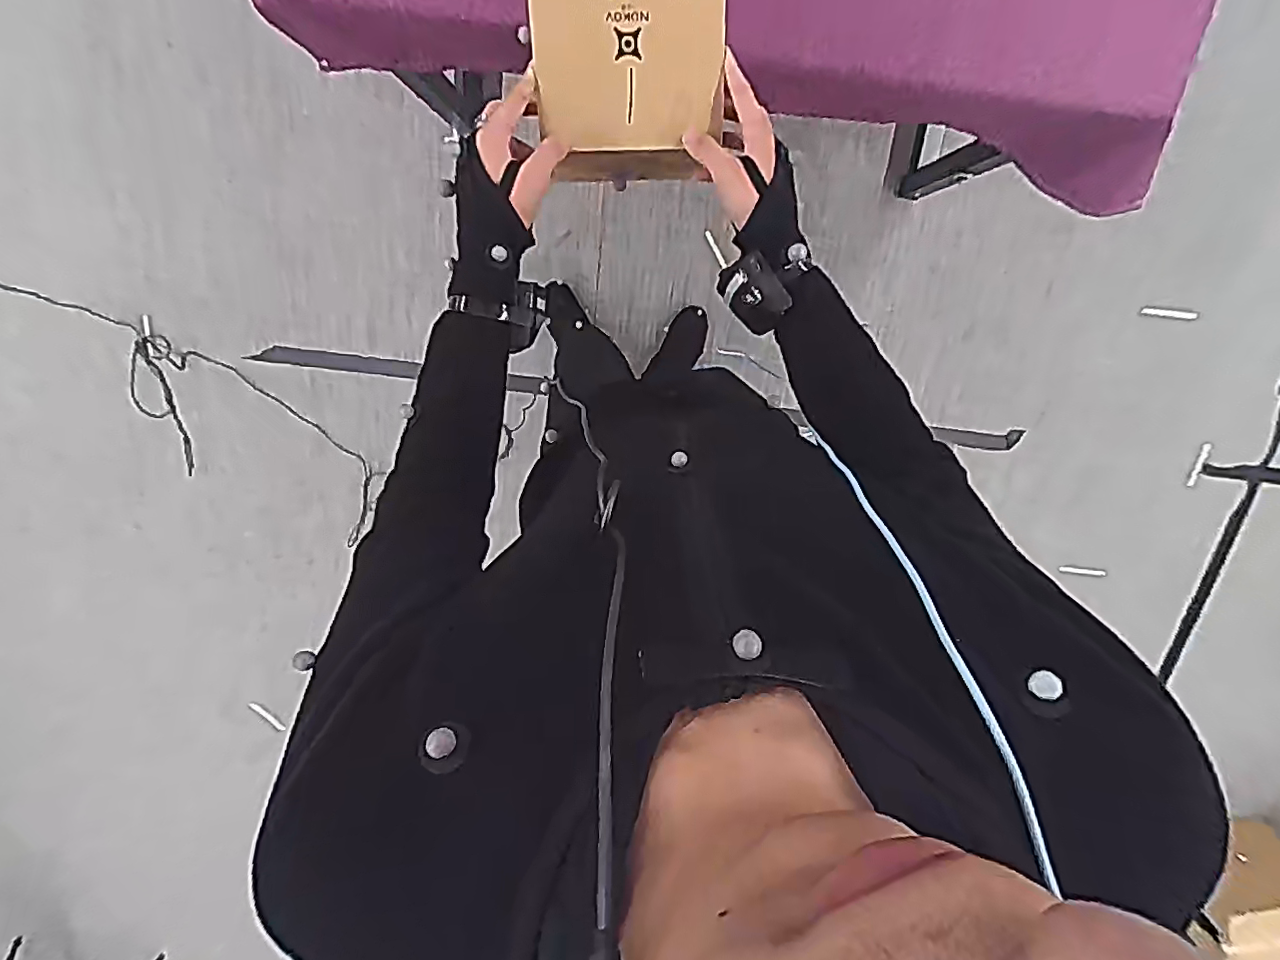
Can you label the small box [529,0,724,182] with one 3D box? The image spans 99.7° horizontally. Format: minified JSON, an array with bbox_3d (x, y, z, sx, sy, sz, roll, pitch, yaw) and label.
[{"bbox_3d":[-0.018,-0.404,0.528,0.168,0.176,0.179,-3,111,-4],"label":"small box"}]
